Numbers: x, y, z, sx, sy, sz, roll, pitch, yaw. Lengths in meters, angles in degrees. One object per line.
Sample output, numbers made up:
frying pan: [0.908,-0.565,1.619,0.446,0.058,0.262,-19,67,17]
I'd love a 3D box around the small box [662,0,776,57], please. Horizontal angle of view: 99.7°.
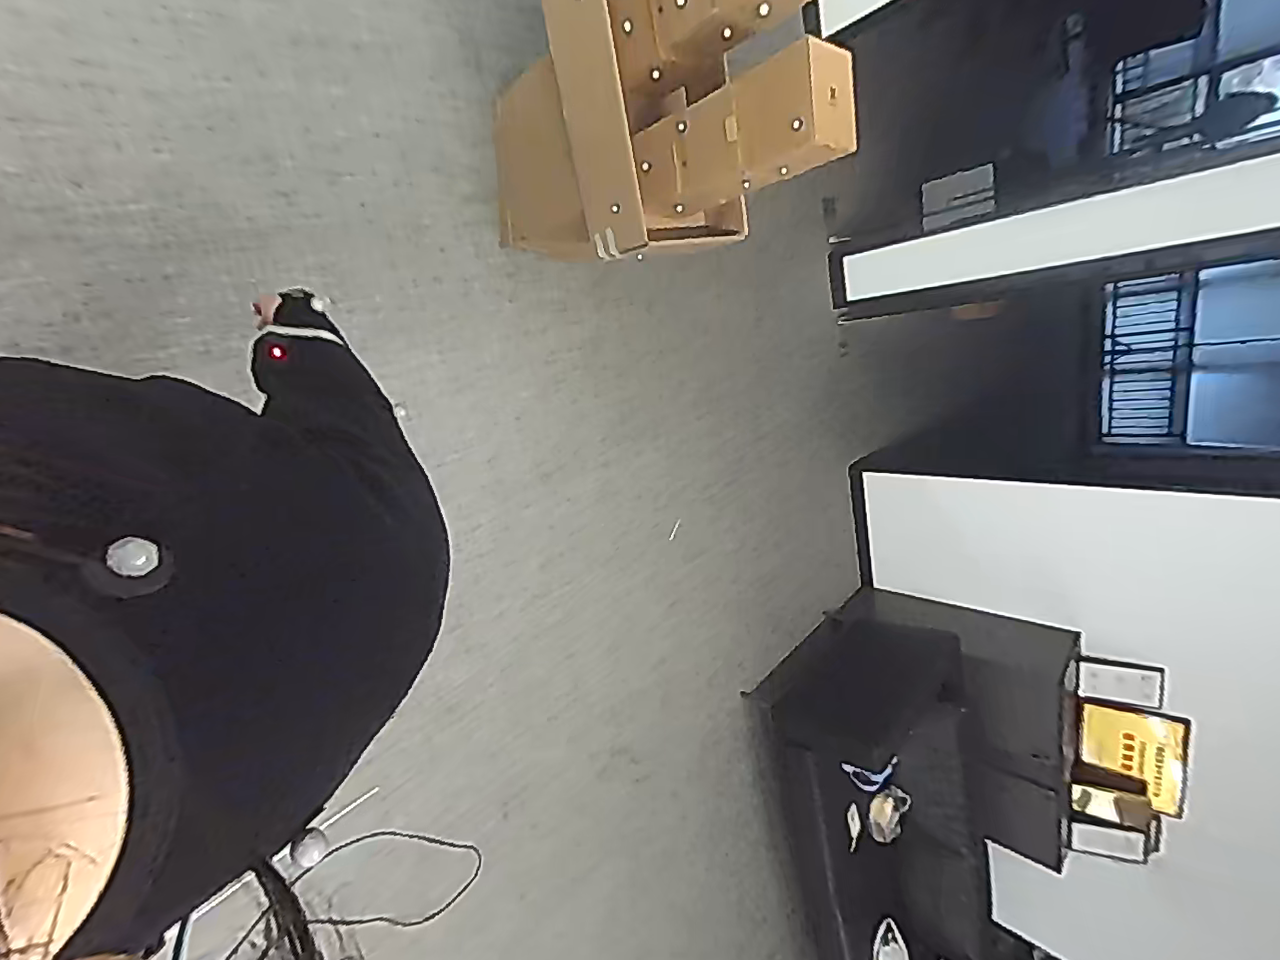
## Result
small box: [0.153,-1.006,1.106,0.179,0.176,0.168,-23,111,-38]

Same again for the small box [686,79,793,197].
small box: [0.216,-0.740,1.192,0.179,0.176,0.168,-21,108,-39]

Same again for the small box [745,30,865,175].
small box: [0.324,-0.732,1.071,0.168,0.176,0.179,-22,109,-38]

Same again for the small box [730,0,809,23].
small box: [0.256,-0.990,0.979,0.168,0.176,0.179,-19,108,-38]
